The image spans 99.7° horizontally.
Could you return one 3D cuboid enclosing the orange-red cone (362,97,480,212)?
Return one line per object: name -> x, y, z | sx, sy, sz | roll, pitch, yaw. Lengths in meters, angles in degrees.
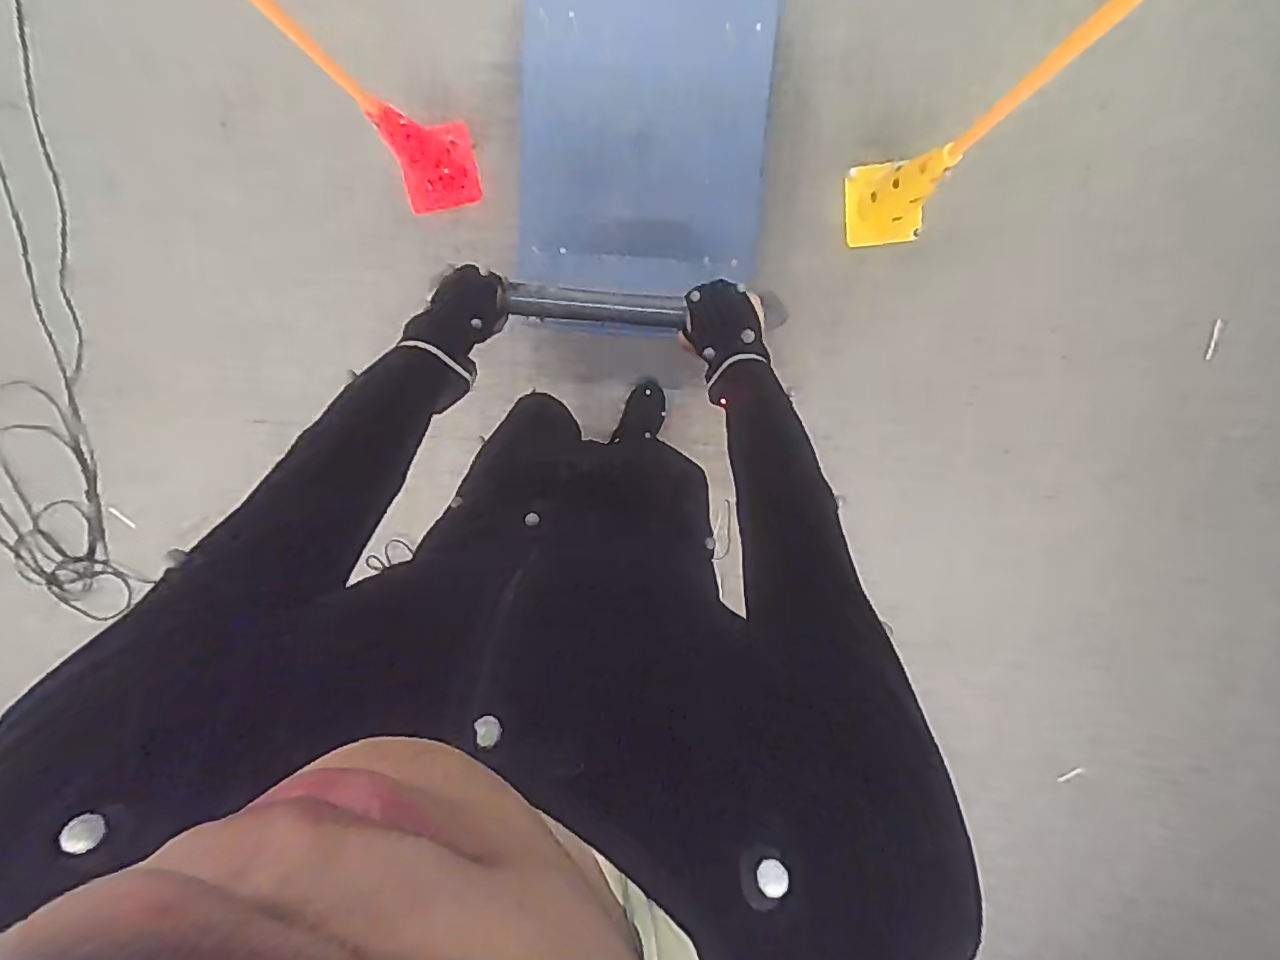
orange-red cone -> -0.543, -0.793, 1.270 | 0.199, 0.360, 0.198 | -9, 101, 5
